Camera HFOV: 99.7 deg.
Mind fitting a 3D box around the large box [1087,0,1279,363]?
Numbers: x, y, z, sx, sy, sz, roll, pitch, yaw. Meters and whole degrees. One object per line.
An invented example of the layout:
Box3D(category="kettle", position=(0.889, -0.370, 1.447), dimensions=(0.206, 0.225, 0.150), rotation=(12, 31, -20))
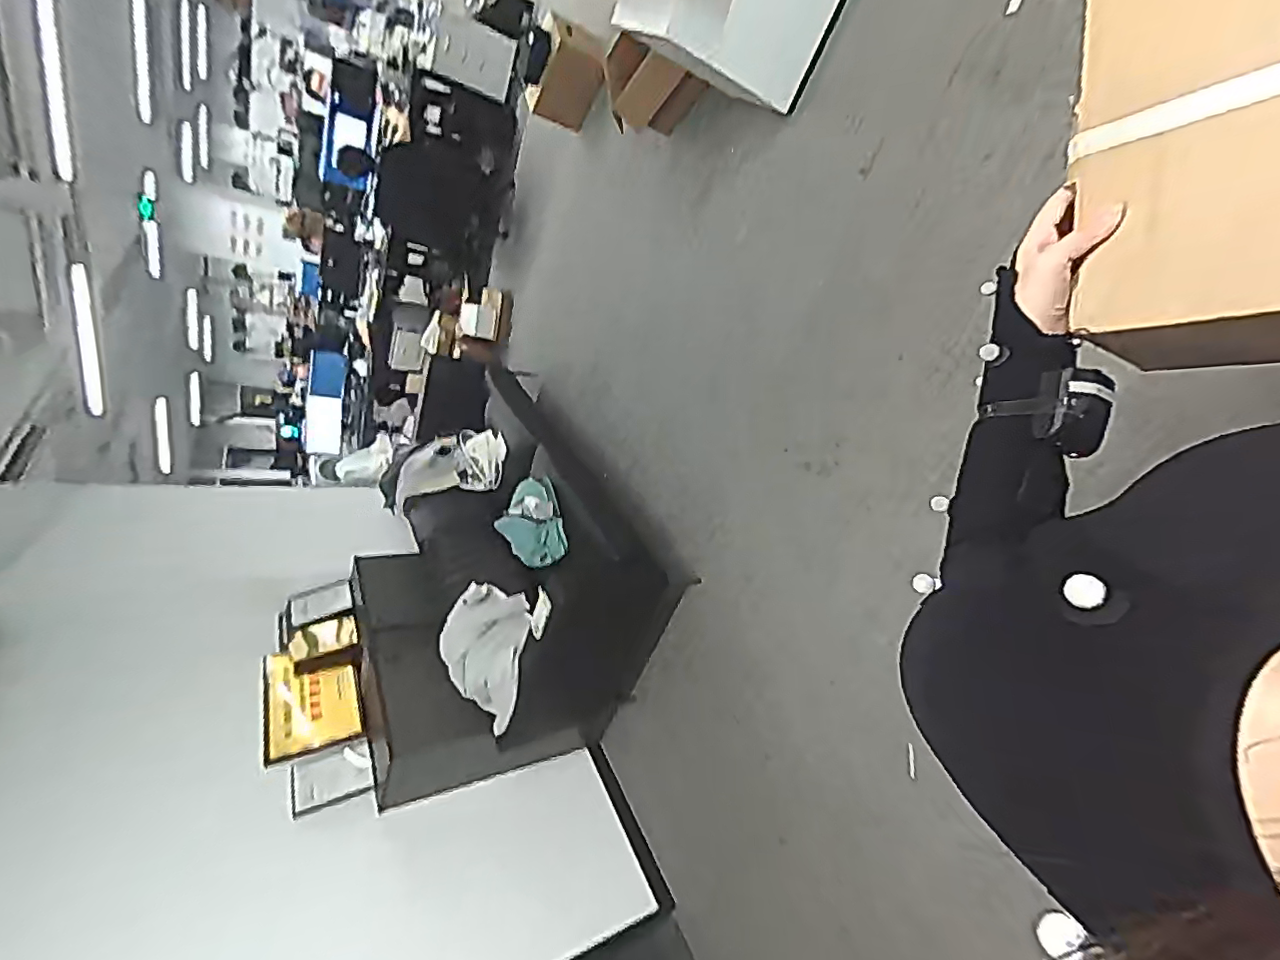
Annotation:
Box3D(category="large box", position=(0.615, -0.280, 0.392), dimensions=(0.408, 0.320, 0.320), rotation=(5, 96, 50))
